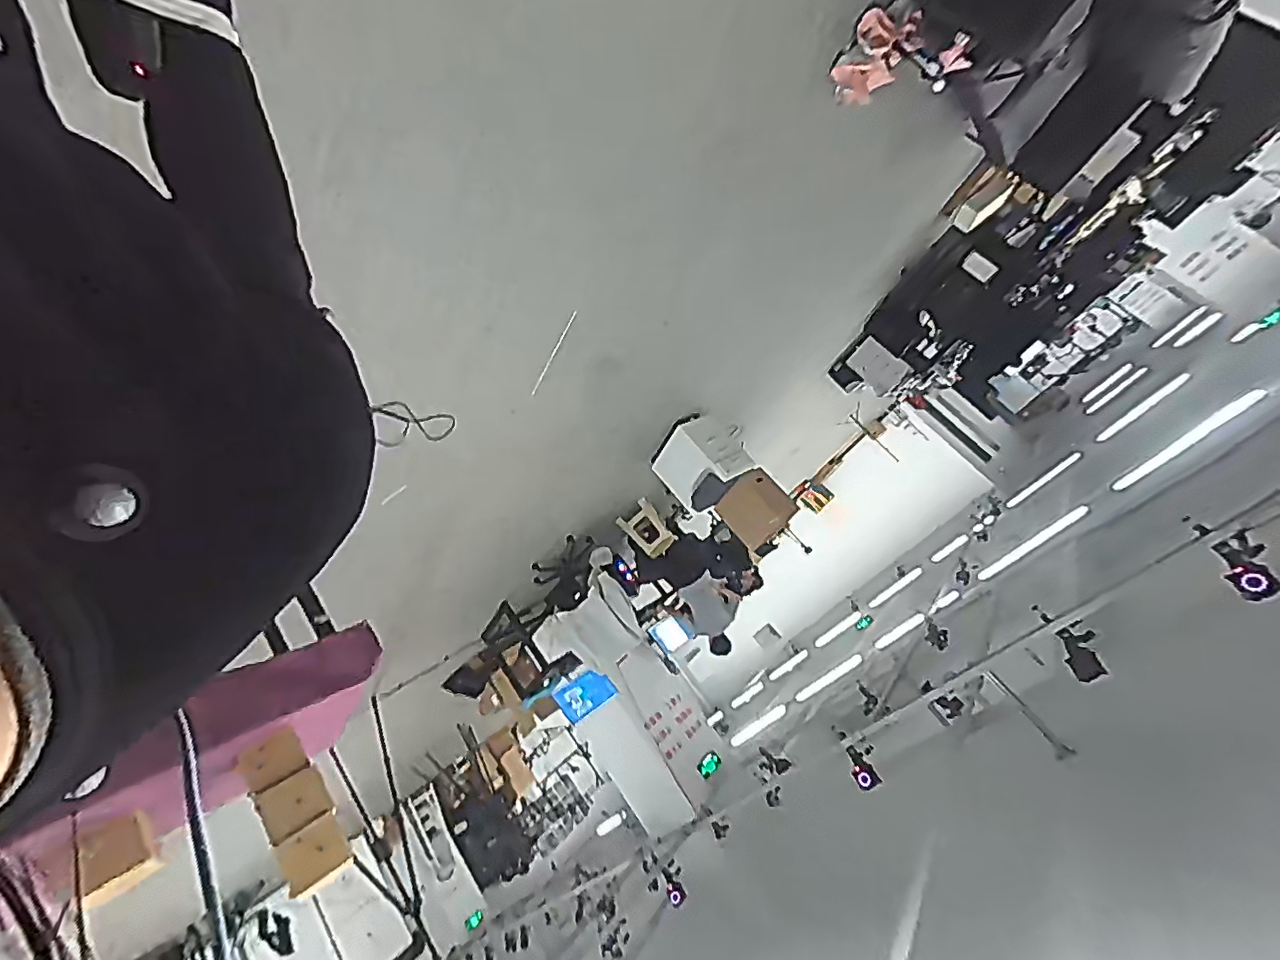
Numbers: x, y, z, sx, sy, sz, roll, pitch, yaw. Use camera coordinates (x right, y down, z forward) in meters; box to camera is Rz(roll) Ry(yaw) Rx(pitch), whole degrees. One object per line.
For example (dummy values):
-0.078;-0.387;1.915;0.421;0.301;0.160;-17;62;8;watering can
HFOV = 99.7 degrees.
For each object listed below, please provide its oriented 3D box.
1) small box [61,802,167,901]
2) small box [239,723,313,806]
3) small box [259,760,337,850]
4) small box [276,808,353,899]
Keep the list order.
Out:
-1.512;1.068;1.560;0.168;0.176;0.179;-25;157;-40;small box
-1.248;0.967;1.851;0.168;0.176;0.179;-20;154;-45;small box
-1.134;1.070;1.786;0.179;0.176;0.168;-21;154;-45;small box
-1.037;1.183;1.722;0.168;0.176;0.179;-22;155;-41;small box
